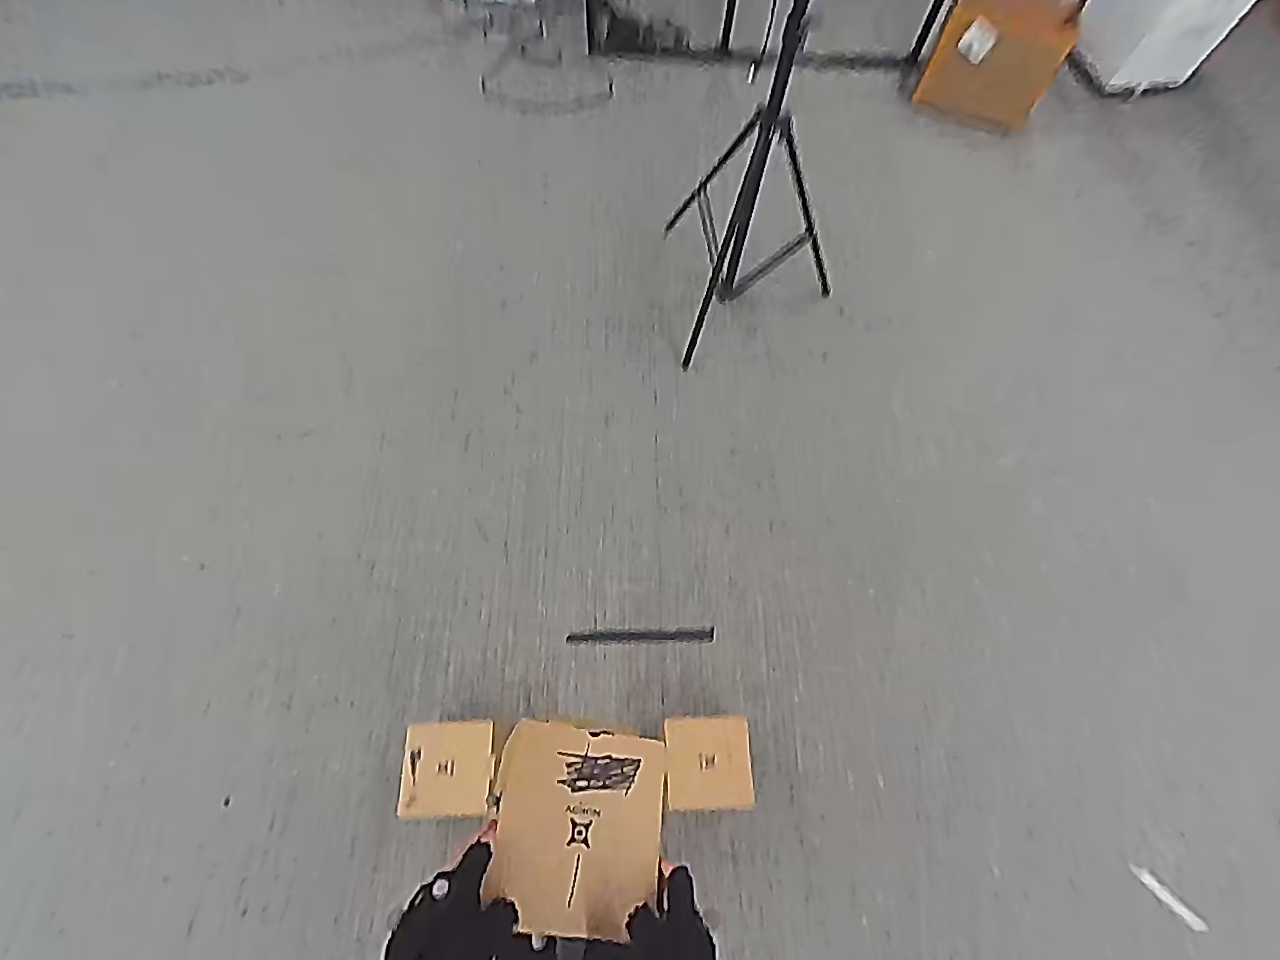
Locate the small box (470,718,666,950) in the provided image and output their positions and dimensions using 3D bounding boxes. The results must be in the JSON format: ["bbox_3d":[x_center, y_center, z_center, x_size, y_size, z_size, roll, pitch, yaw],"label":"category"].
[{"bbox_3d":[-0.080,0.382,0.587,0.168,0.176,0.179,15,52,-11],"label":"small box"}]

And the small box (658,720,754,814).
[{"bbox_3d":[0.131,0.608,1.159,0.179,0.176,0.168,-1,67,-4],"label":"small box"}]

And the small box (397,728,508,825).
[{"bbox_3d":[-0.380,0.613,1.133,0.179,0.176,0.168,-1,65,-3],"label":"small box"}]
